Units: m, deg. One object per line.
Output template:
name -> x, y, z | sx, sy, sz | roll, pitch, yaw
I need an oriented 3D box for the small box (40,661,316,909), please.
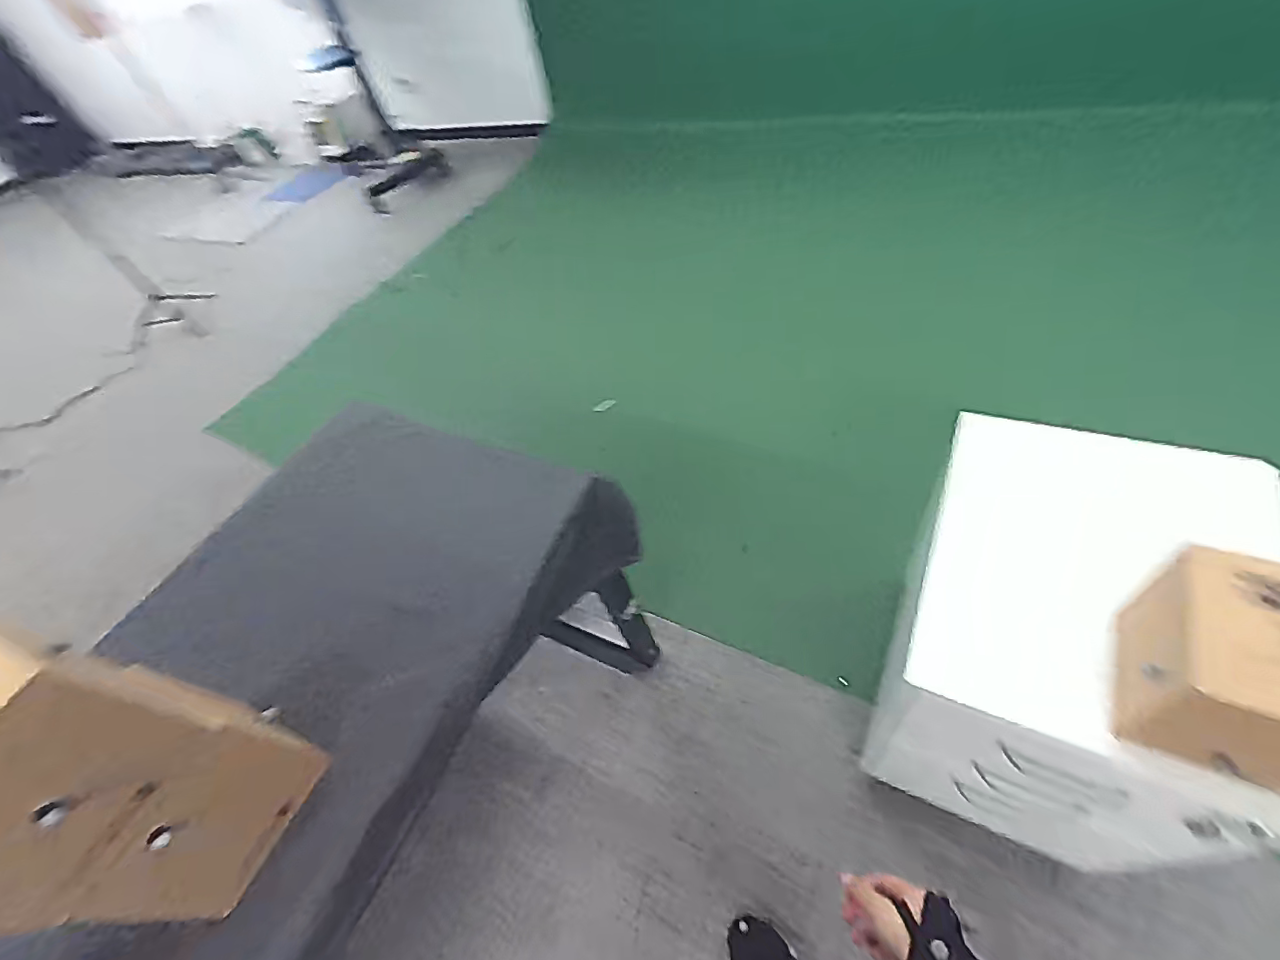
small box -> -0.502, 0.323, 0.574 | 0.179, 0.176, 0.168 | 12, 56, 23

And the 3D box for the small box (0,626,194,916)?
small box -> -0.534, 0.227, 0.442 | 0.179, 0.176, 0.168 | 13, 55, 22
